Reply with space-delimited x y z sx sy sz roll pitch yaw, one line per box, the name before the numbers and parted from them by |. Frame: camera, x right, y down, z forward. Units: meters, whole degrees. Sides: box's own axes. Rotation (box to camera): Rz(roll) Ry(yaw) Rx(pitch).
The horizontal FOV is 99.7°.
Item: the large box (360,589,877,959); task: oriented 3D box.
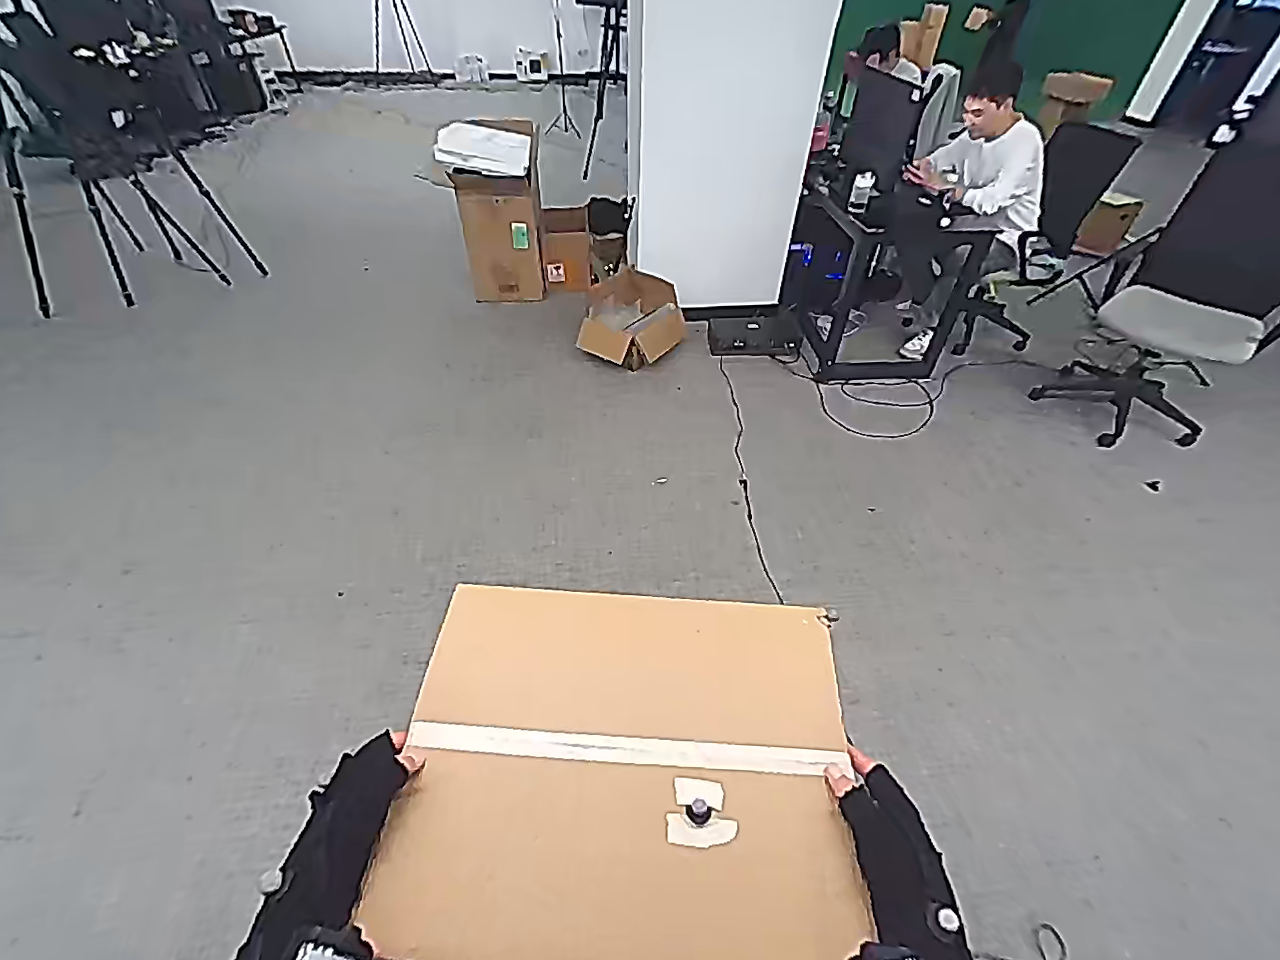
large box | -0.013 0.346 0.615 0.408 0.320 0.320 4 50 2
